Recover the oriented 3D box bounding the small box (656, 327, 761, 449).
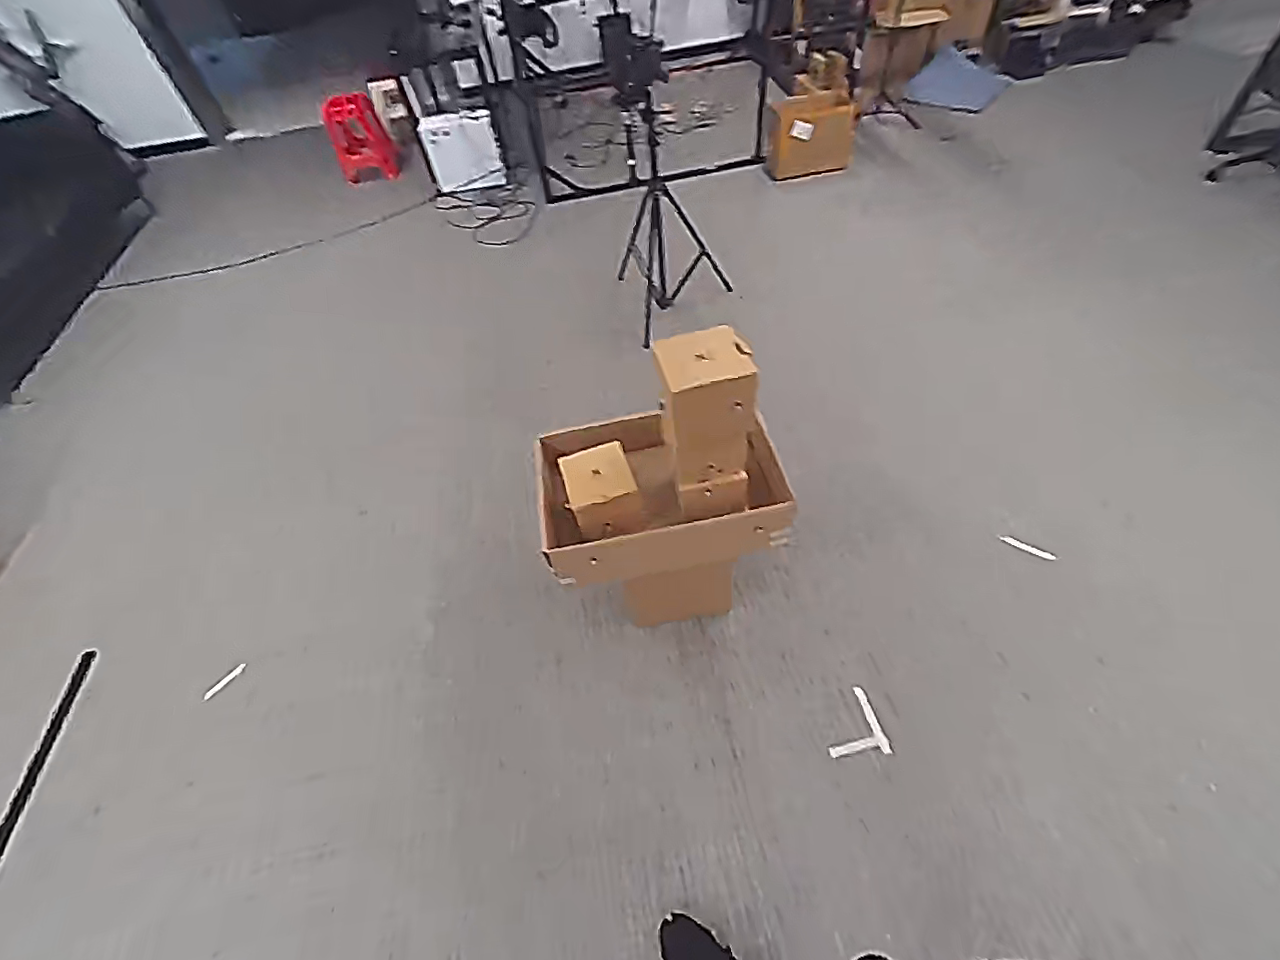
[{"bbox_3d":[0.140,-0.191,1.143,0.179,0.176,0.168,-14,51,-3],"label":"small box"}]

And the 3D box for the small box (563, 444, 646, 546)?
[{"bbox_3d":[-0.092,0.041,1.415,0.168,0.176,0.179,-18,52,-6],"label":"small box"}]
